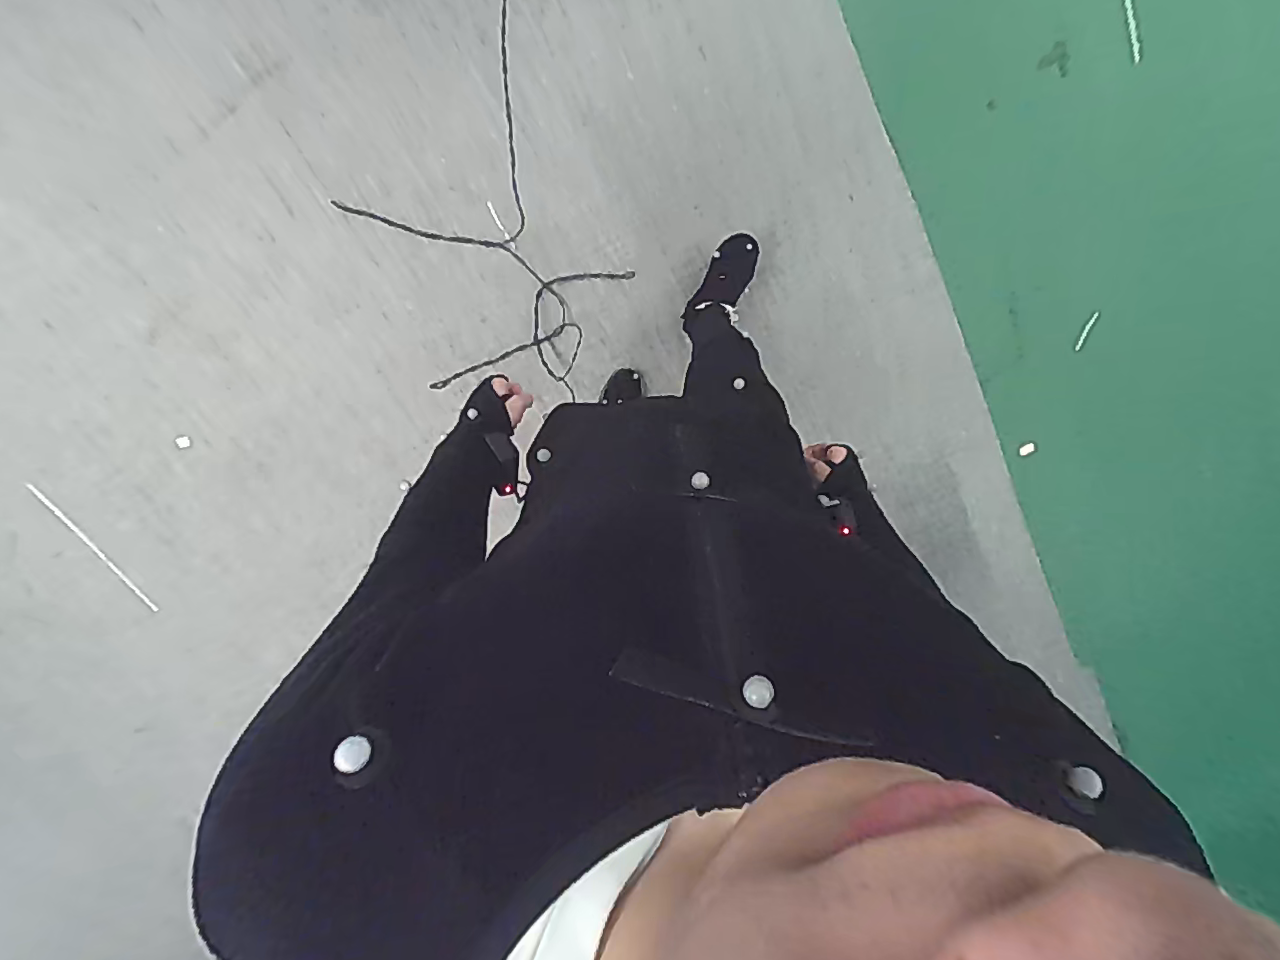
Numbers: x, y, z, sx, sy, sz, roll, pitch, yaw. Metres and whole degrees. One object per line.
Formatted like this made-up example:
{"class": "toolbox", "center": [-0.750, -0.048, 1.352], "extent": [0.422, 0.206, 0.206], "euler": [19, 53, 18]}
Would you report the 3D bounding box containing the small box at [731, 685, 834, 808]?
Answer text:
{"class": "small box", "center": [0.336, 0.634, 1.301], "extent": [0.168, 0.176, 0.179], "euler": [-24, 105, 3]}
